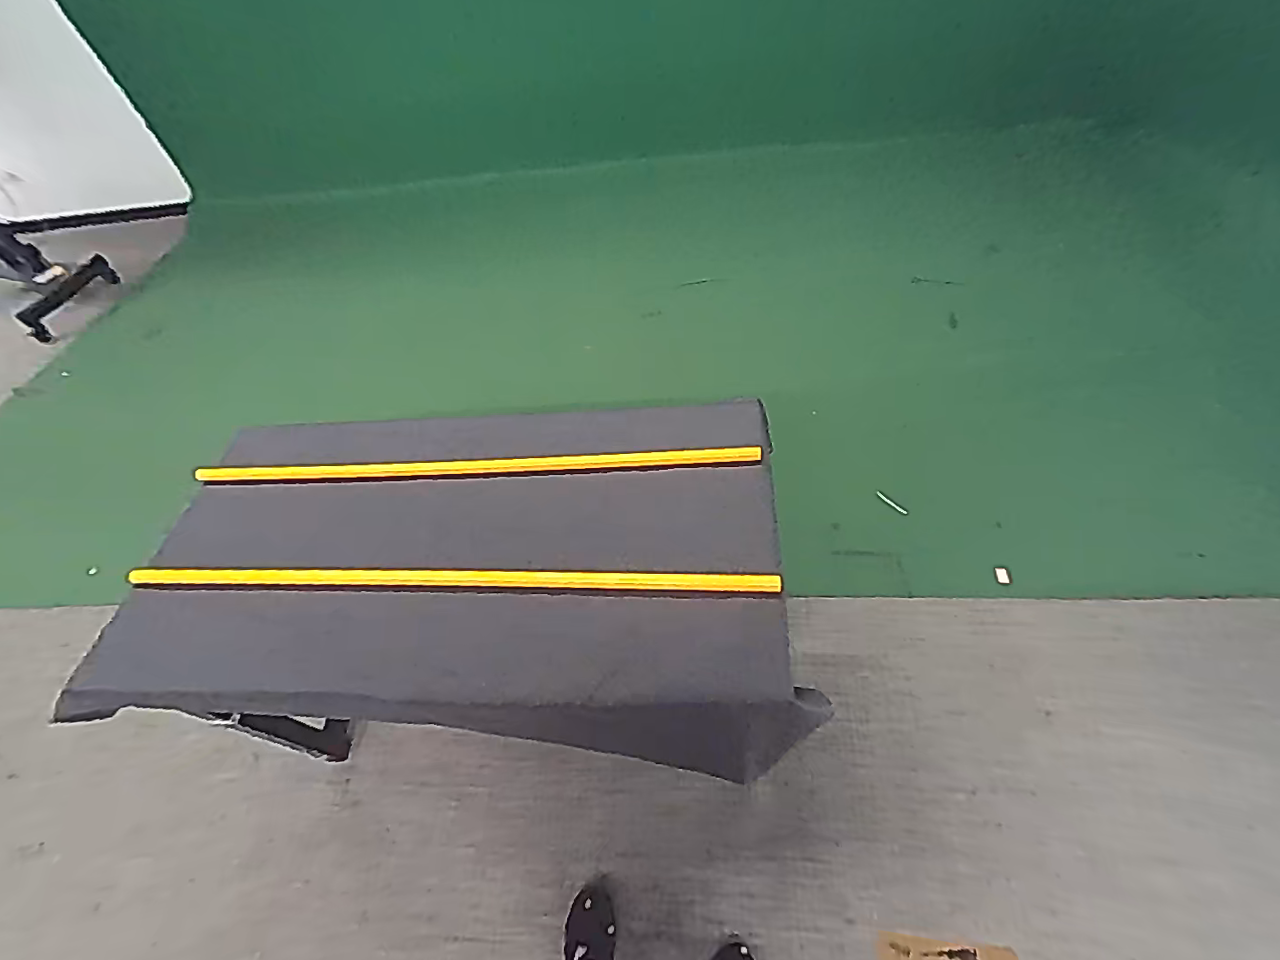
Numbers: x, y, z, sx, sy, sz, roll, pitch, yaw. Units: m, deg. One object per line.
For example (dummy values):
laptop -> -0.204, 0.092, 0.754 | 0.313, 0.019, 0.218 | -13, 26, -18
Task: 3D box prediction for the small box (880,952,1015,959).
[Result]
small box -> 0.388, 0.699, 0.617 | 0.168, 0.179, 0.176 | -15, 90, 20
